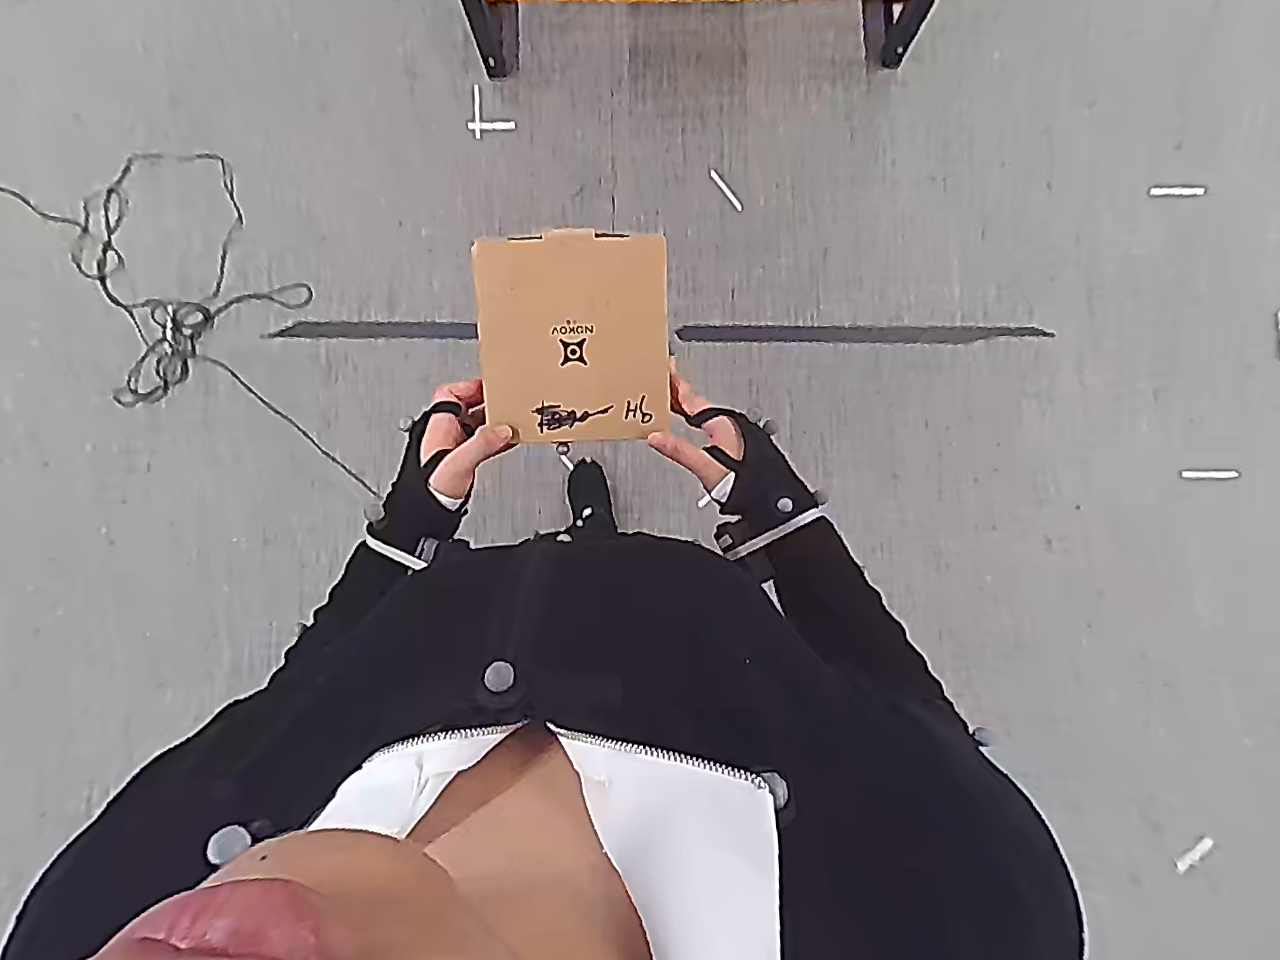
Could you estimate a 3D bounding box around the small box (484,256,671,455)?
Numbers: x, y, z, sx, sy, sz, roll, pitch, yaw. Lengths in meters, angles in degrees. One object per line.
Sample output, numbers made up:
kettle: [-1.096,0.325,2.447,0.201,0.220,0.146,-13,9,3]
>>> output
small box: [-0.057,-0.121,0.566,0.168,0.176,0.179,-2,99,0]
